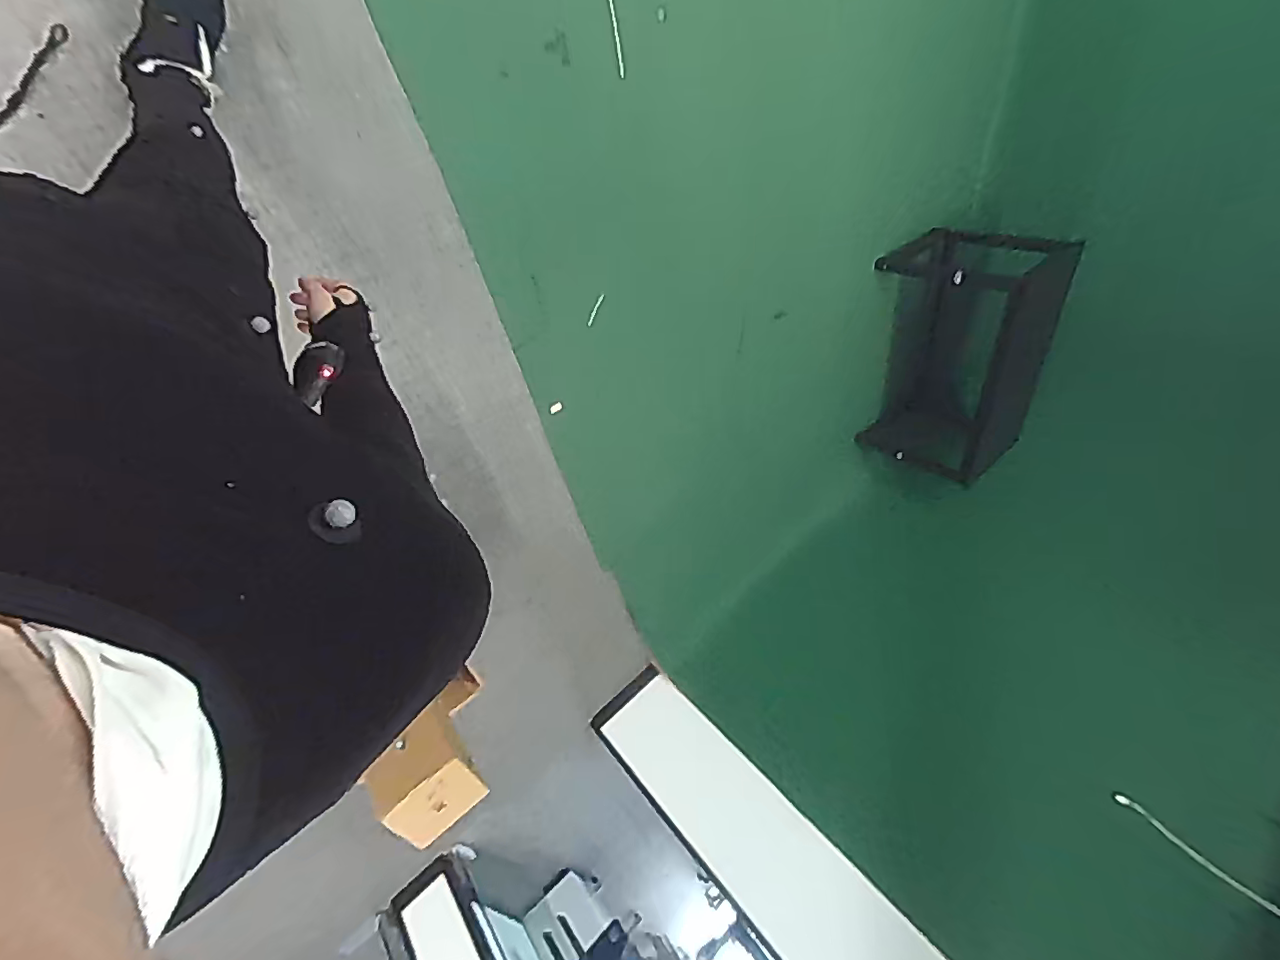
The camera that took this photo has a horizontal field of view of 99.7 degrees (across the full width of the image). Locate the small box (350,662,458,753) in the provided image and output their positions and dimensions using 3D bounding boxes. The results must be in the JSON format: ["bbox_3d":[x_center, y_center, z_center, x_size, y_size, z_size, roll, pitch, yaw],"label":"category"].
[{"bbox_3d":[-0.548,0.567,1.270,0.168,0.176,0.179,-33,131,-22],"label":"small box"}]

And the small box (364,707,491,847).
[{"bbox_3d":[-0.450,0.622,1.148,0.168,0.176,0.179,-35,132,-22],"label":"small box"}]
